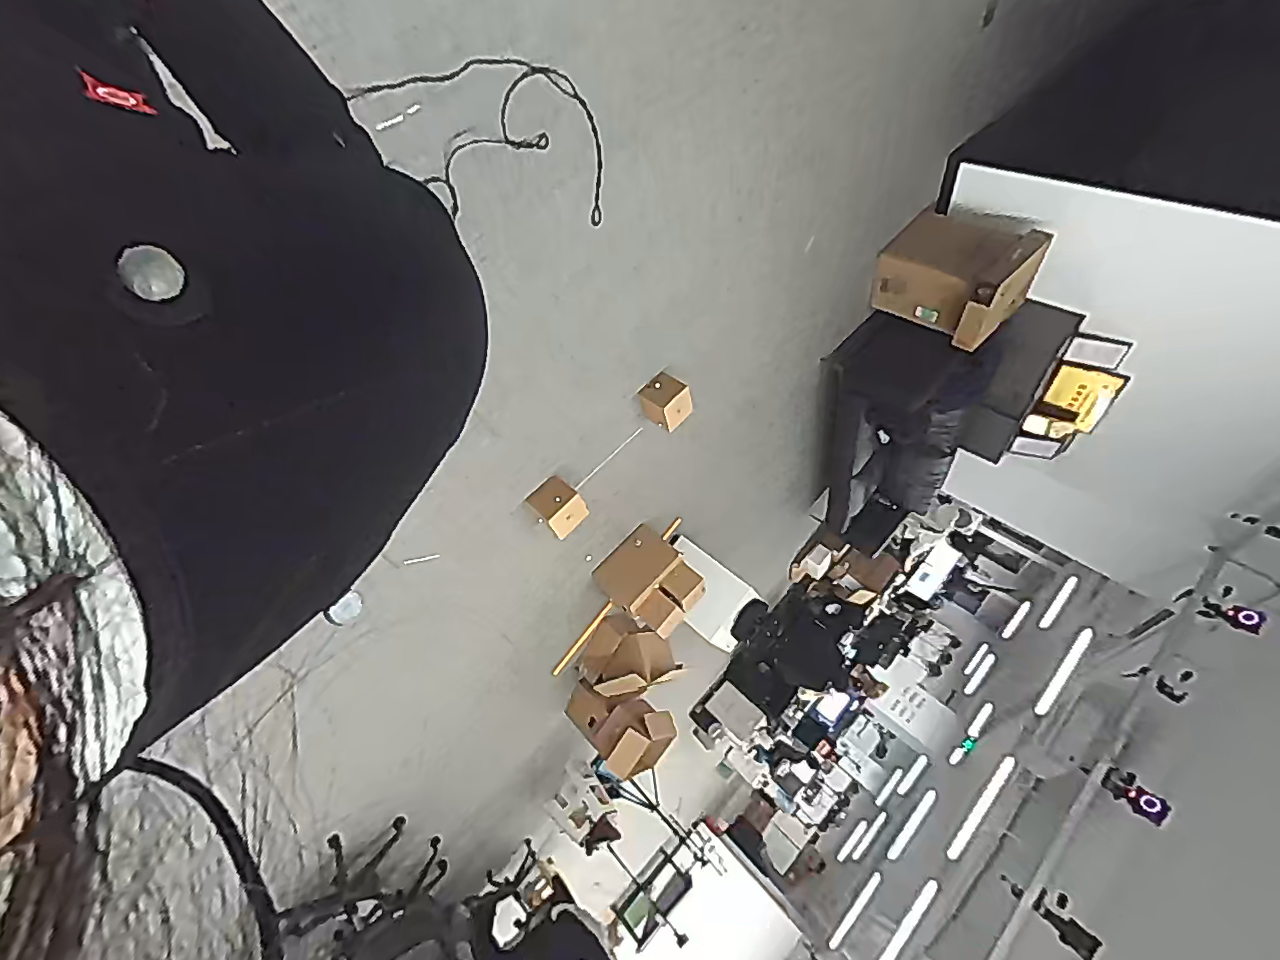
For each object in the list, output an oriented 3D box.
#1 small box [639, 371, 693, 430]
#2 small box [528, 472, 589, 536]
[{"bbox_3d":[0.118,-0.368,2.479,0.168,0.176,0.179,-44,148,-16],"label":"small box"},{"bbox_3d":[-0.353,0.100,2.309,0.179,0.176,0.168,-44,147,-16],"label":"small box"}]
